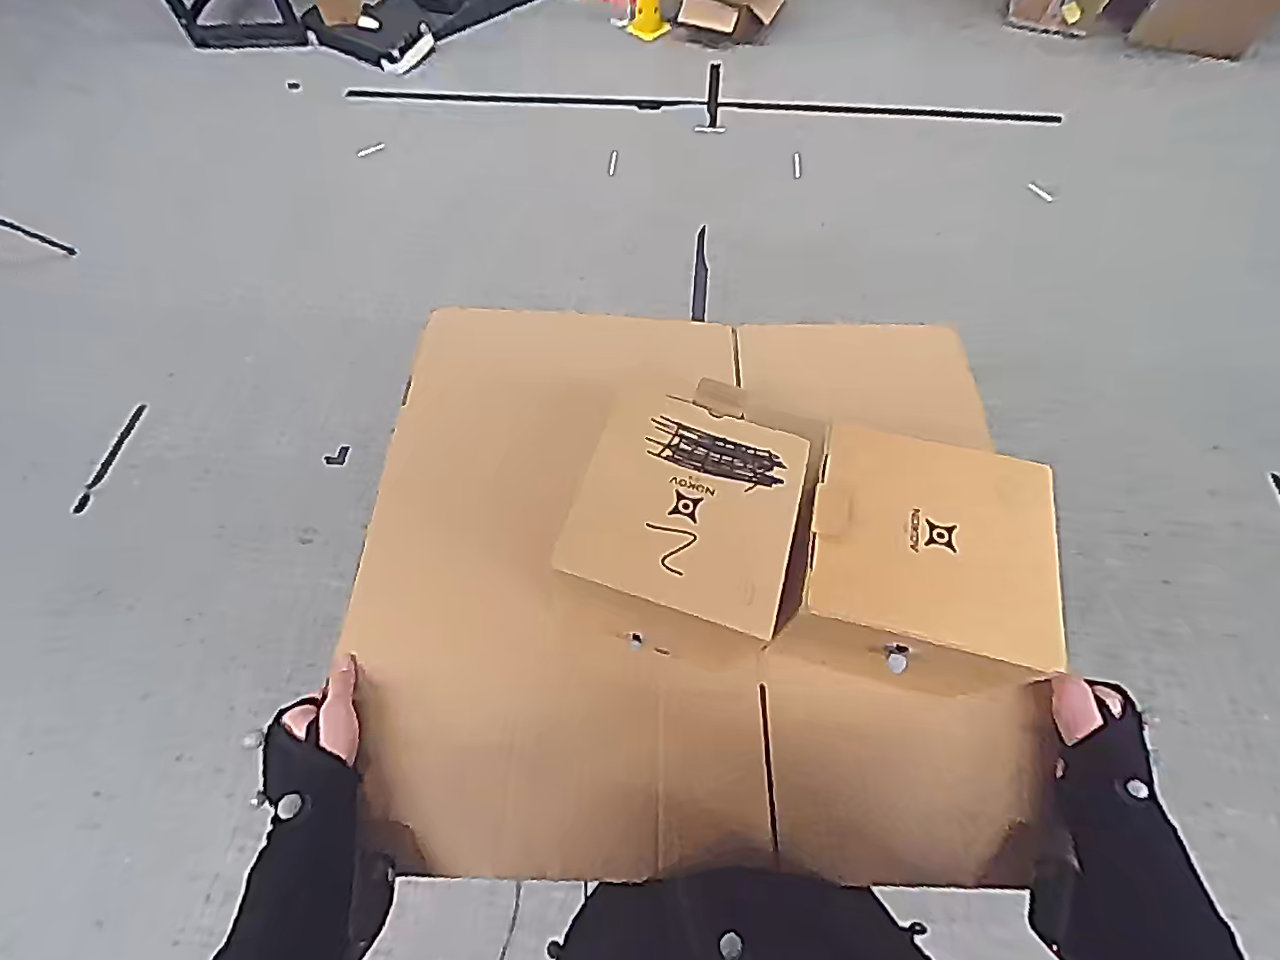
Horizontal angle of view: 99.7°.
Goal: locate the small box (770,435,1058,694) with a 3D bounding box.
[{"bbox_3d":[0.230,0.085,0.490,0.179,0.176,0.168,13,64,10],"label":"small box"}]
